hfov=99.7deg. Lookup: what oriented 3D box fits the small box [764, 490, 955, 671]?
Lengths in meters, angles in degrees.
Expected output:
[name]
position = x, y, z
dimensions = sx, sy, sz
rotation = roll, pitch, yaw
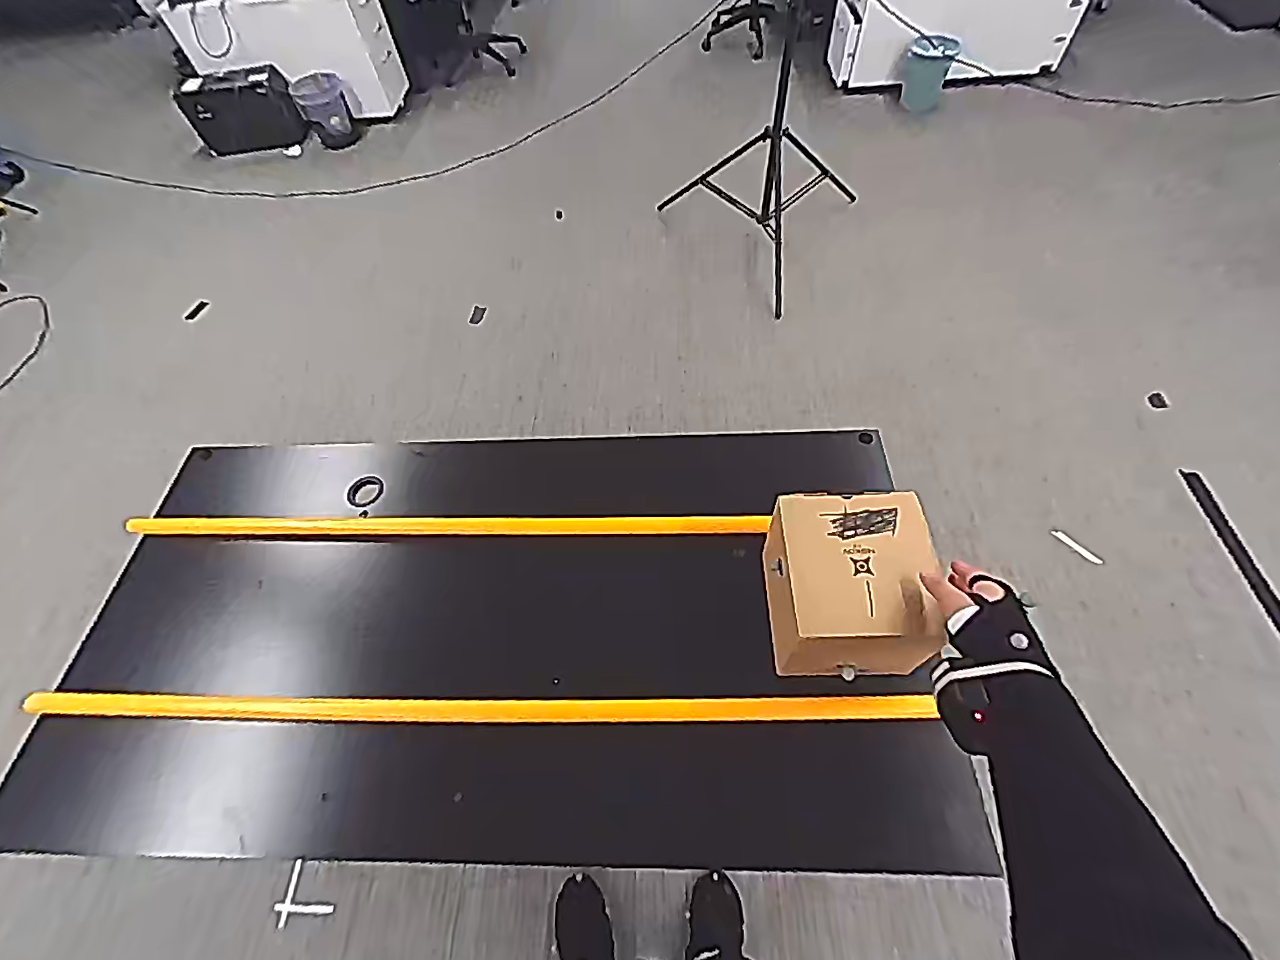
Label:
[small box]
position = 0.255, 0.130, 0.681
dimensions = 0.168, 0.176, 0.179
rotation = -2, 57, 4
